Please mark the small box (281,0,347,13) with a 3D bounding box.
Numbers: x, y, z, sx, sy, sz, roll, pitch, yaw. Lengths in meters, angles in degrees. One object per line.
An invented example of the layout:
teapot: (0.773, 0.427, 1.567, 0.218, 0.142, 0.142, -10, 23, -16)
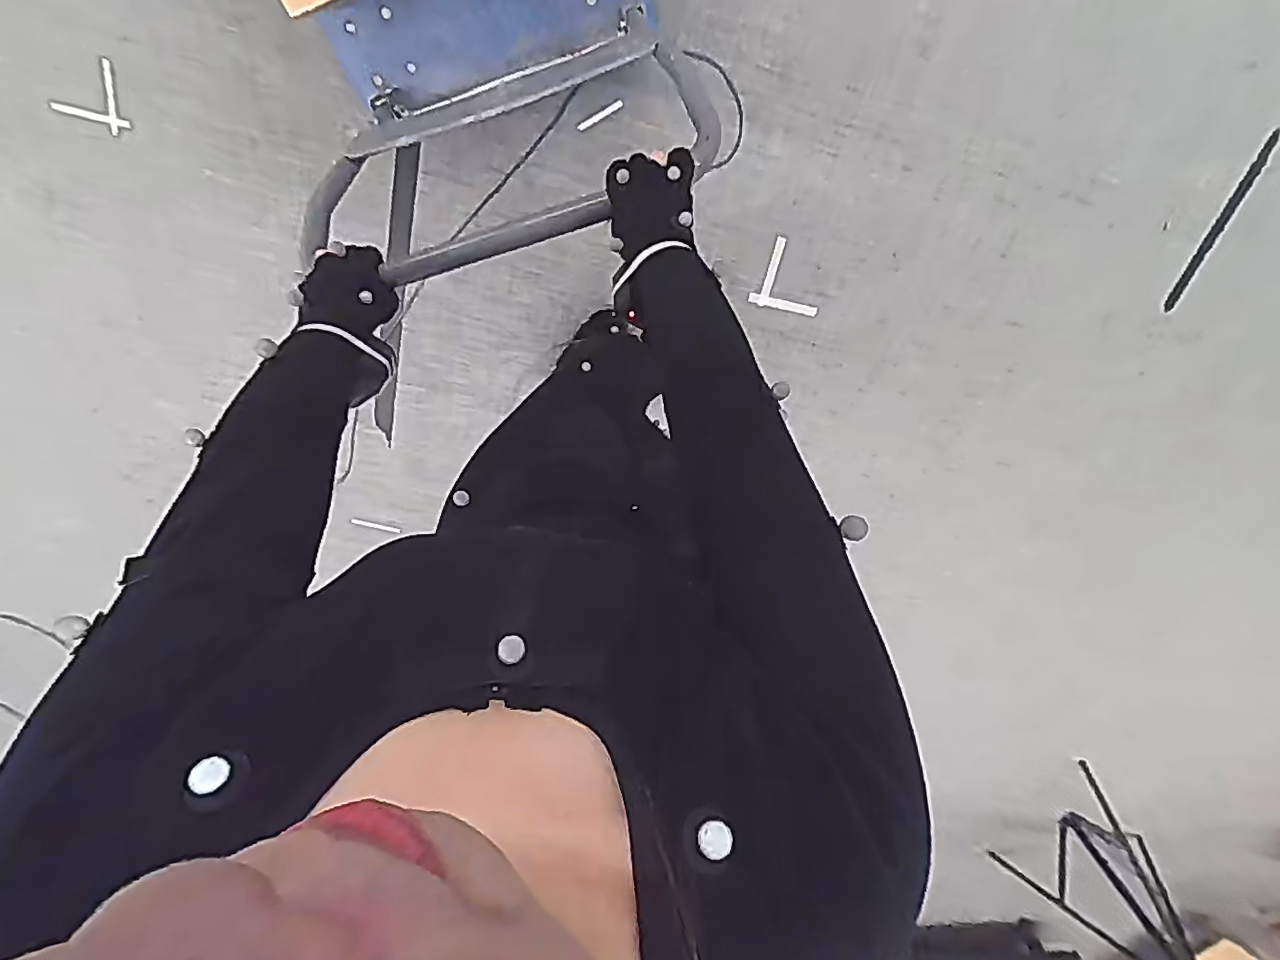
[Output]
small box: (-0.476, -0.829, 0.802, 0.179, 0.176, 0.168, -19, 134, 7)
